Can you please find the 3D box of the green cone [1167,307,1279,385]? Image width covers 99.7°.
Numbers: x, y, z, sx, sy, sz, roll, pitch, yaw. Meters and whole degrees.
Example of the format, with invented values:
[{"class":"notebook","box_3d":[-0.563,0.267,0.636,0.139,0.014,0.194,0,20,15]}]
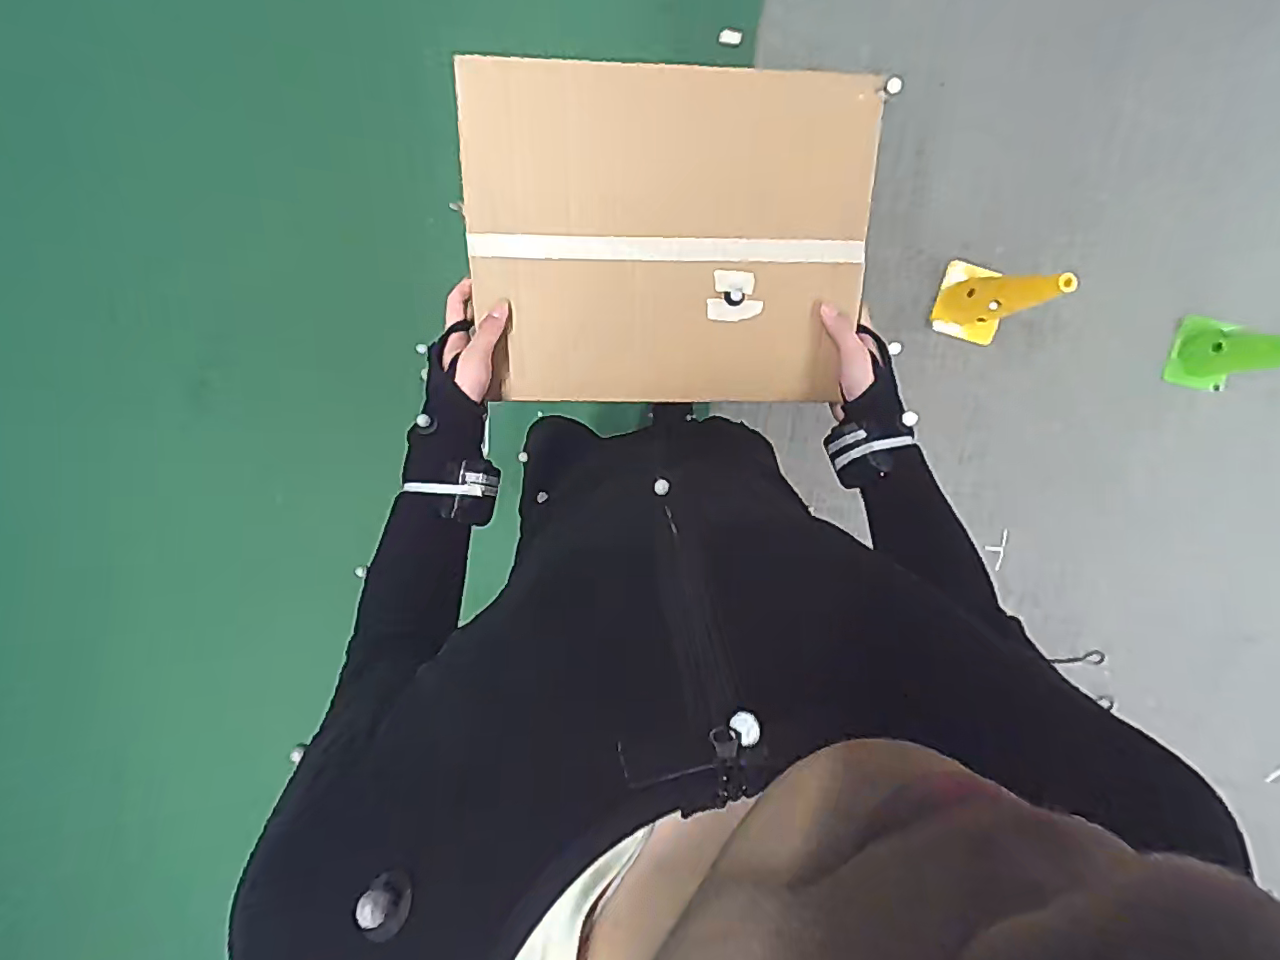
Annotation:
[{"class":"green cone","box_3d":[1.705,-0.370,1.452,0.202,0.368,0.200,11,100,-3]}]
